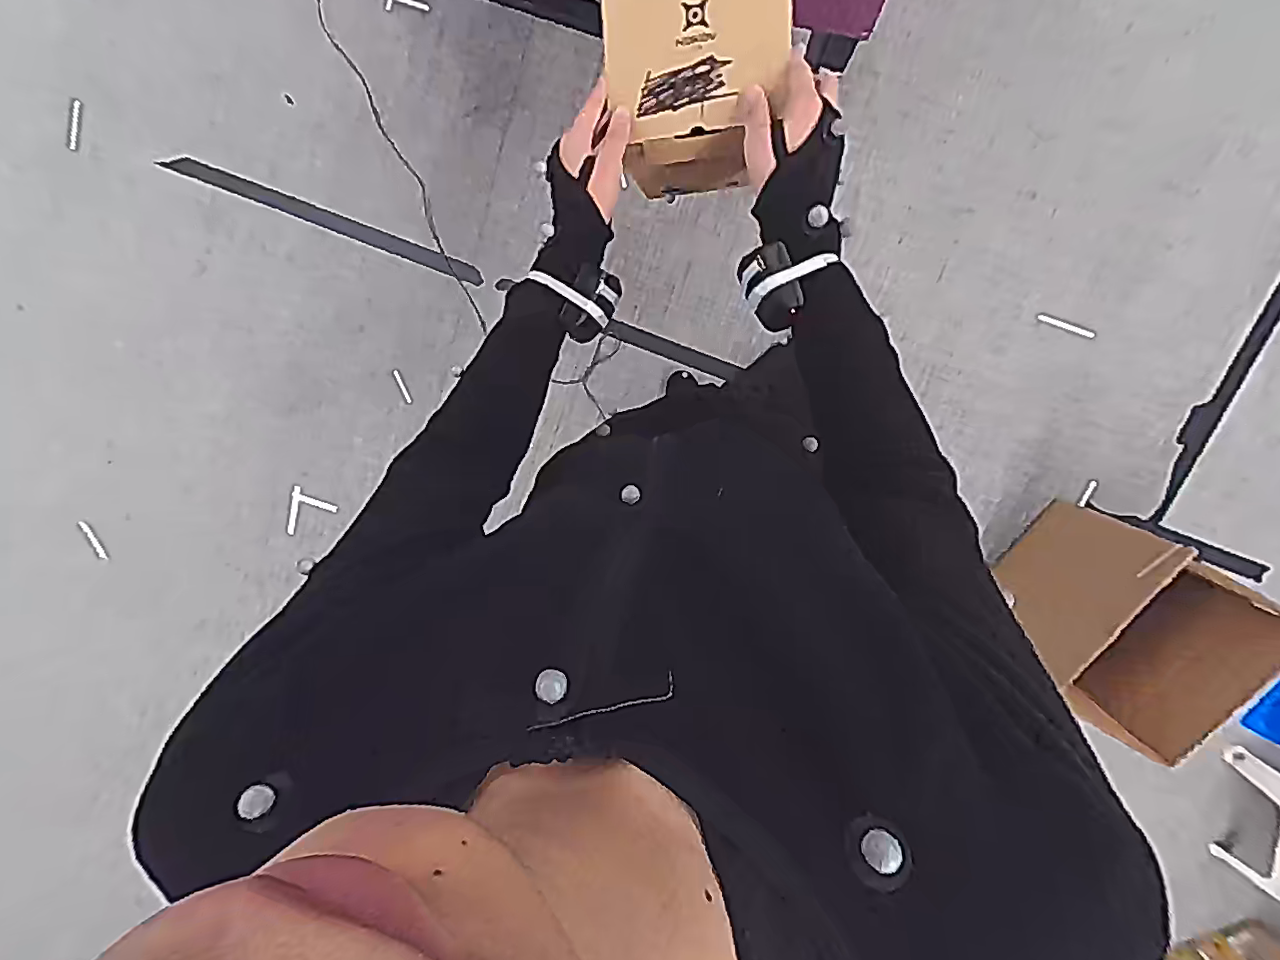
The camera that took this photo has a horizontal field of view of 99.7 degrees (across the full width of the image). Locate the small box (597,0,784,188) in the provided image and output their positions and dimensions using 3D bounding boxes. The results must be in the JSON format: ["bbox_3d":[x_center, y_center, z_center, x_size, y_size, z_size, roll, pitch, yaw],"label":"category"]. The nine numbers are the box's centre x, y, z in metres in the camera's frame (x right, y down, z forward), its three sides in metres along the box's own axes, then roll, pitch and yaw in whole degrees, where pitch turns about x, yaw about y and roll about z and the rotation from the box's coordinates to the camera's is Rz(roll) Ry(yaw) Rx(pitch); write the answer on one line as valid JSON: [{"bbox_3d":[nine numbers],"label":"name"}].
[{"bbox_3d":[0.061,-0.417,0.550,0.168,0.176,0.179,-2,101,13],"label":"small box"}]
